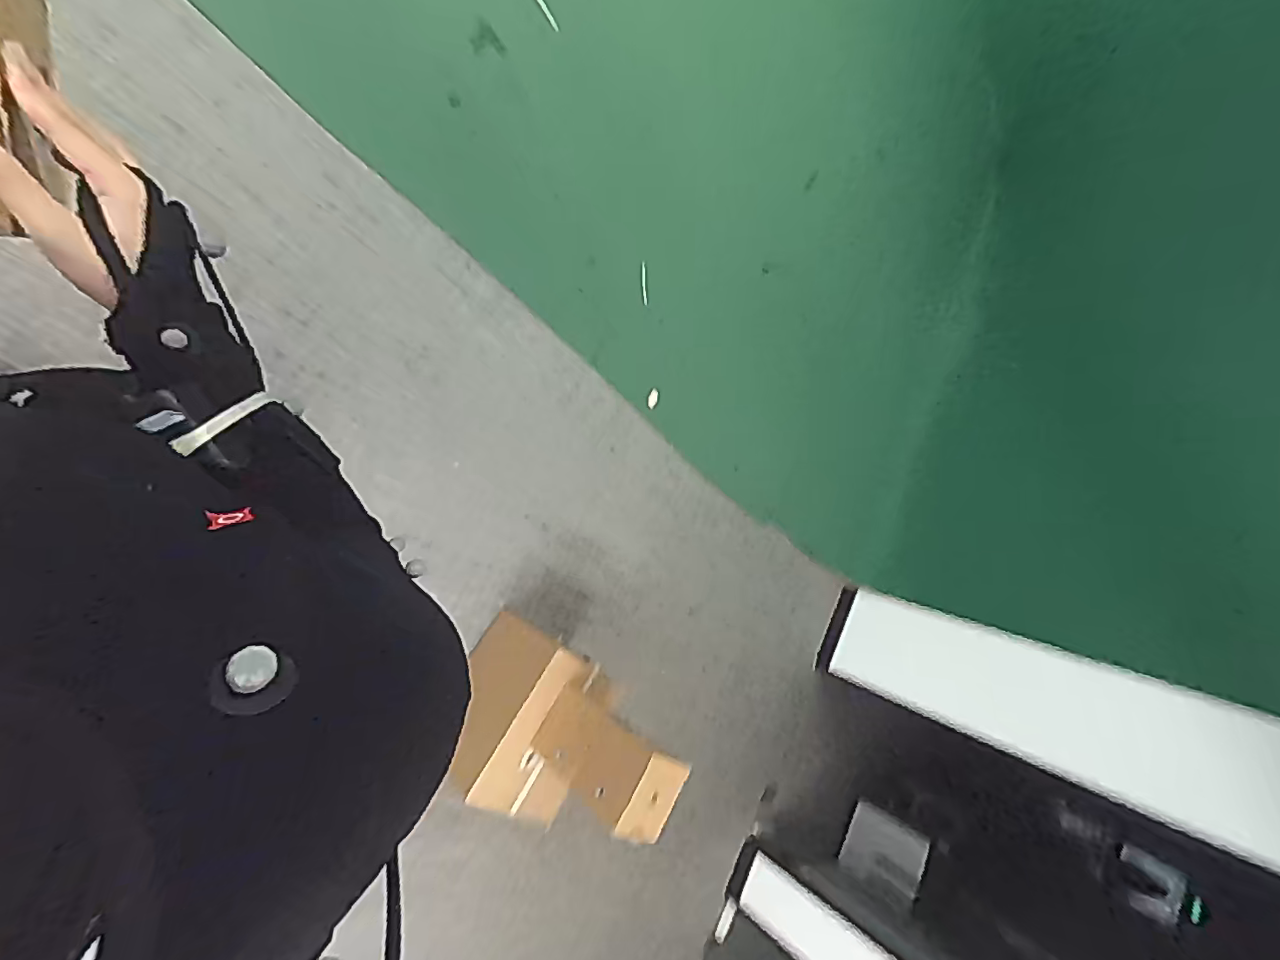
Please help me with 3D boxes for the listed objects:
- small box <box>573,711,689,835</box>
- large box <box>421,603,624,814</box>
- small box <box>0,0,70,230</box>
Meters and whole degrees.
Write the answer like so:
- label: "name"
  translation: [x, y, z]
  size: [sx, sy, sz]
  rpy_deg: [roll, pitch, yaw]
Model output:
- label: "small box"
  translation: [-0.026, 0.663, 1.231]
  size: [0.168, 0.176, 0.179]
  rpy_deg: [43, 71, -40]
- label: "large box"
  translation: [-0.323, 0.623, 1.511]
  size: [0.320, 0.320, 0.408]
  rpy_deg: [45, 71, -38]
- label: "small box"
  translation: [-0.432, -0.234, 0.274]
  size: [0.179, 0.176, 0.168]
  rpy_deg: [-2, 109, -40]
